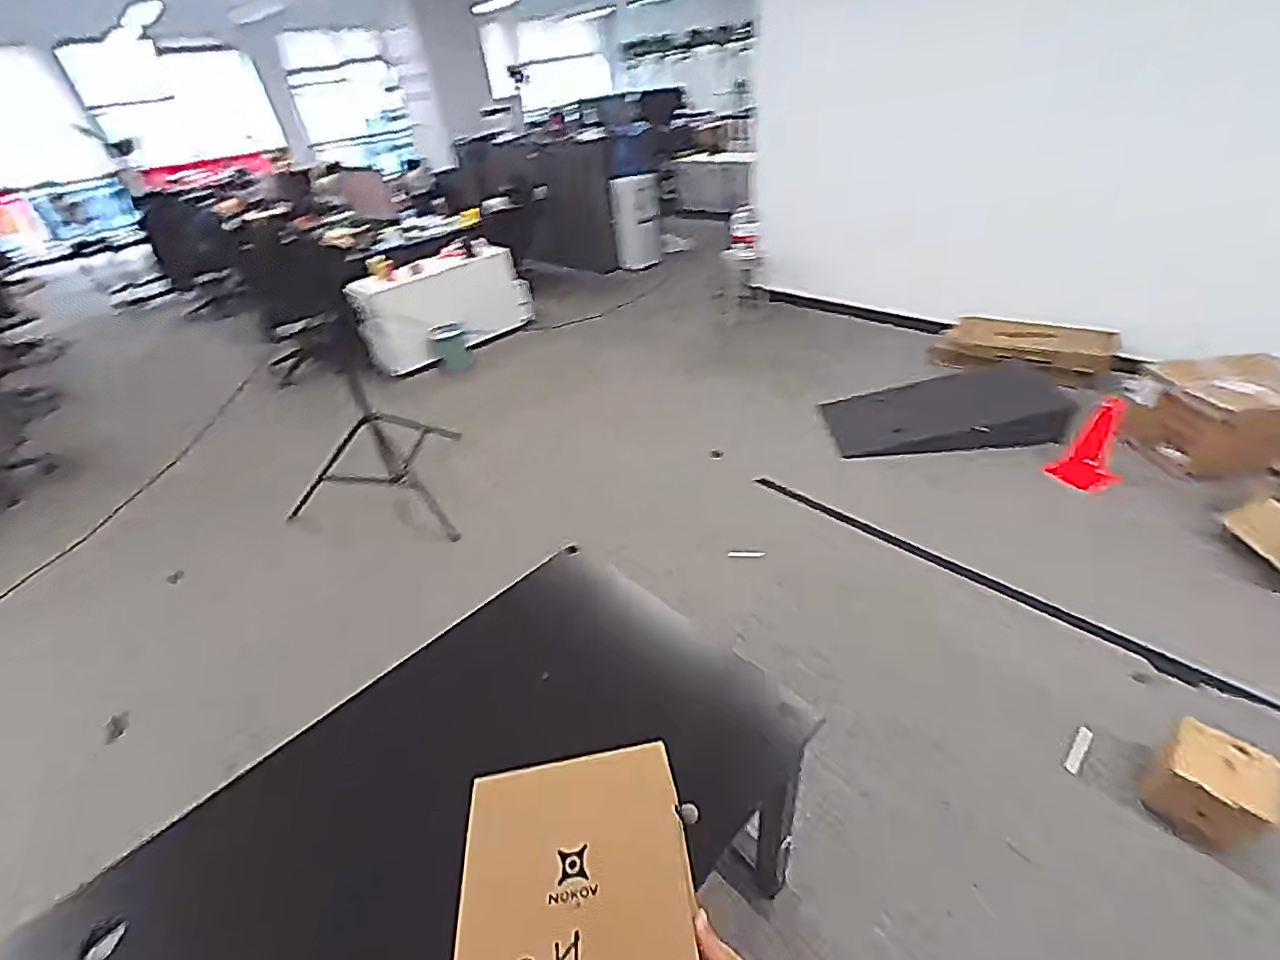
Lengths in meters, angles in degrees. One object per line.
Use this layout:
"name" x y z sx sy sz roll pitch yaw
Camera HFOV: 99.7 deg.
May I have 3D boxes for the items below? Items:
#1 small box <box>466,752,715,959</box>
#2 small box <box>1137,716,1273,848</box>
"small box" -0.030 0.359 0.440 0.168 0.176 0.179 -11 36 0
"small box" 1.304 0.703 1.258 0.168 0.176 0.179 27 49 38
